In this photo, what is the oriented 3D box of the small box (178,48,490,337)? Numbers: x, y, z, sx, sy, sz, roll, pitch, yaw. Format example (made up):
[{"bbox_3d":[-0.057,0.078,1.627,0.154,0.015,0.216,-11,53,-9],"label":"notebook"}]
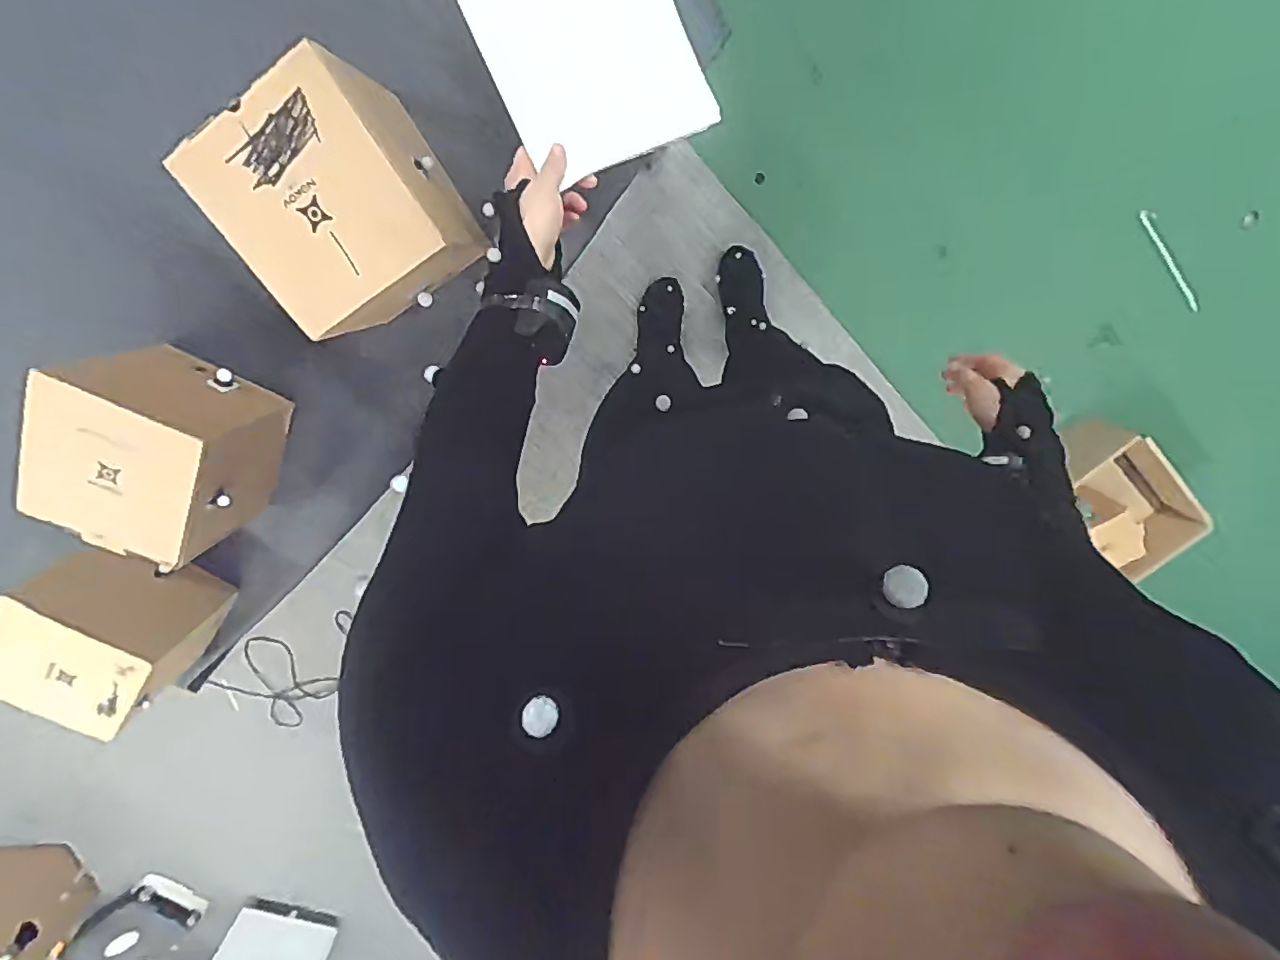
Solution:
[{"bbox_3d":[-0.282,-0.270,0.546,0.168,0.176,0.179,-29,110,12],"label":"small box"}]

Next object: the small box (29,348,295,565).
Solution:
[{"bbox_3d":[-0.554,-0.036,0.648,0.168,0.176,0.179,25,109,-11],"label":"small box"}]

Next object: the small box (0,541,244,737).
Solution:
[{"bbox_3d":[-0.711,0.204,0.746,0.179,0.176,0.168,36,108,-15],"label":"small box"}]

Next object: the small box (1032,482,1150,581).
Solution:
[{"bbox_3d":[1.220,0.138,1.481,0.179,0.176,0.168,-33,111,13],"label":"small box"}]
